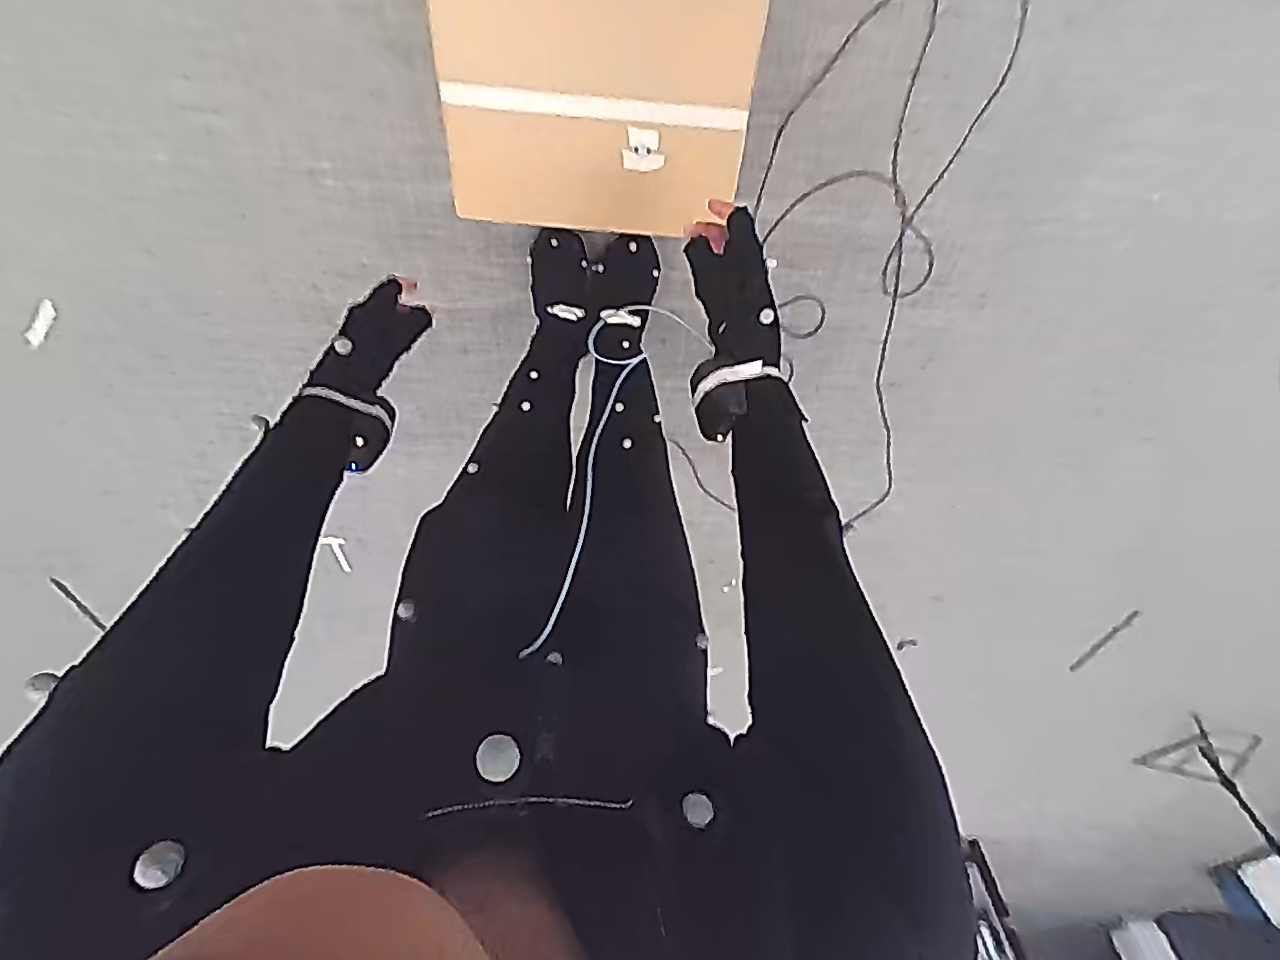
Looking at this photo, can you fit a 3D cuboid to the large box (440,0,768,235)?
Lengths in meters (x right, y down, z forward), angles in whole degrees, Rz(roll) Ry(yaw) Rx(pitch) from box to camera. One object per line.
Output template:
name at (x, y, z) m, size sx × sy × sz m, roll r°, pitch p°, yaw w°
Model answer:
large box at (-0.054, -0.597, 0.835) m, size 0.408 × 0.320 × 0.320 m, roll 3°, pitch 131°, yaw -3°
